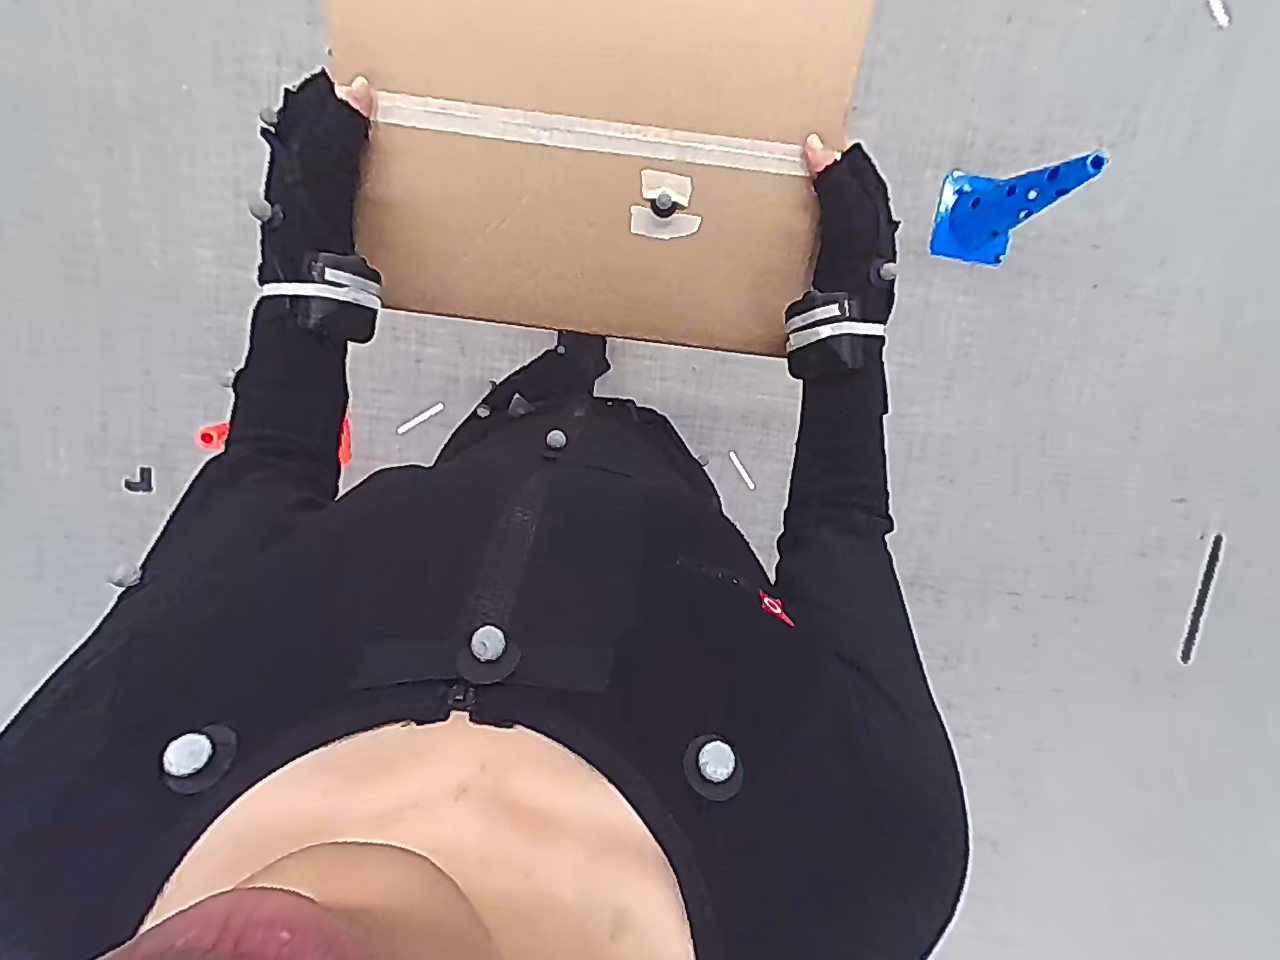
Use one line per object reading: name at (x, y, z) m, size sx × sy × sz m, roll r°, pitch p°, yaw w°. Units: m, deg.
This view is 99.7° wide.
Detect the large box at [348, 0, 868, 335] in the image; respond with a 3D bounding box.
large box at (-0.035, -0.349, 0.579) m, size 0.408 × 0.320 × 0.320 m, roll 6°, pitch 113°, yaw -2°

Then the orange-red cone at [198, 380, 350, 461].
orange-red cone at (-0.846, -0.118, 1.227) m, size 0.198 × 0.360 × 0.199 m, roll 4°, pitch 101°, yaw -2°

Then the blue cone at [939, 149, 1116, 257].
blue cone at (0.865, -0.641, 1.203) m, size 0.192 × 0.380 × 0.193 m, roll 9°, pitch 100°, yaw -5°
